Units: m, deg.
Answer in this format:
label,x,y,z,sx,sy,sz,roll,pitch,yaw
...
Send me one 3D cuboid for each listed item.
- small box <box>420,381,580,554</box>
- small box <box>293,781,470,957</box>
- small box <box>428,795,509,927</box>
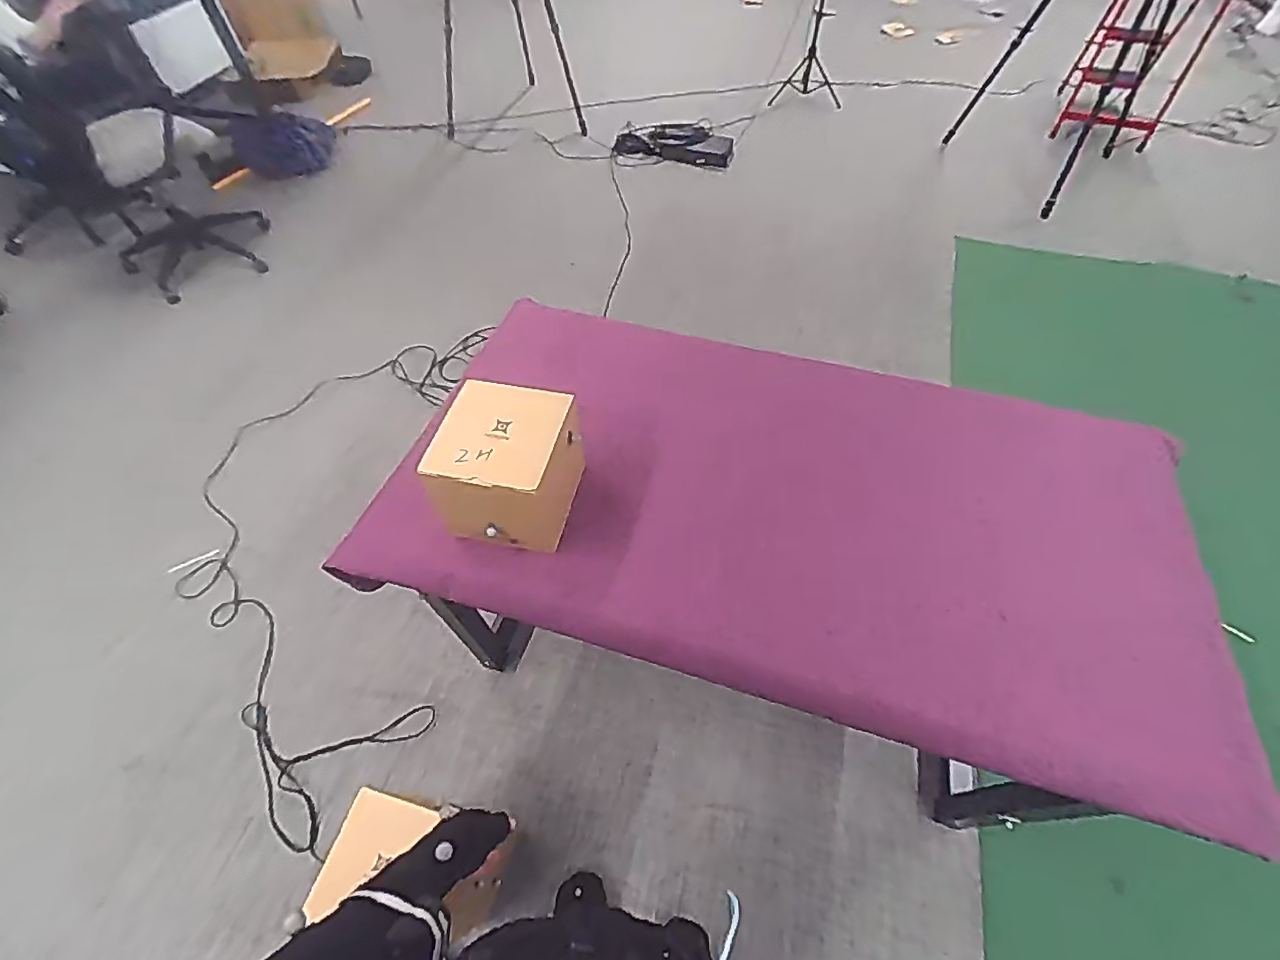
label,x,y,z,sx,sy,sz,roll,pitch,yaw
small box,-0.191,-0.017,0.805,0.168,0.176,0.179,11,55,7
small box,-0.391,0.605,0.861,0.168,0.176,0.179,13,59,9
small box,-0.391,0.789,1.132,0.168,0.176,0.179,16,58,11
